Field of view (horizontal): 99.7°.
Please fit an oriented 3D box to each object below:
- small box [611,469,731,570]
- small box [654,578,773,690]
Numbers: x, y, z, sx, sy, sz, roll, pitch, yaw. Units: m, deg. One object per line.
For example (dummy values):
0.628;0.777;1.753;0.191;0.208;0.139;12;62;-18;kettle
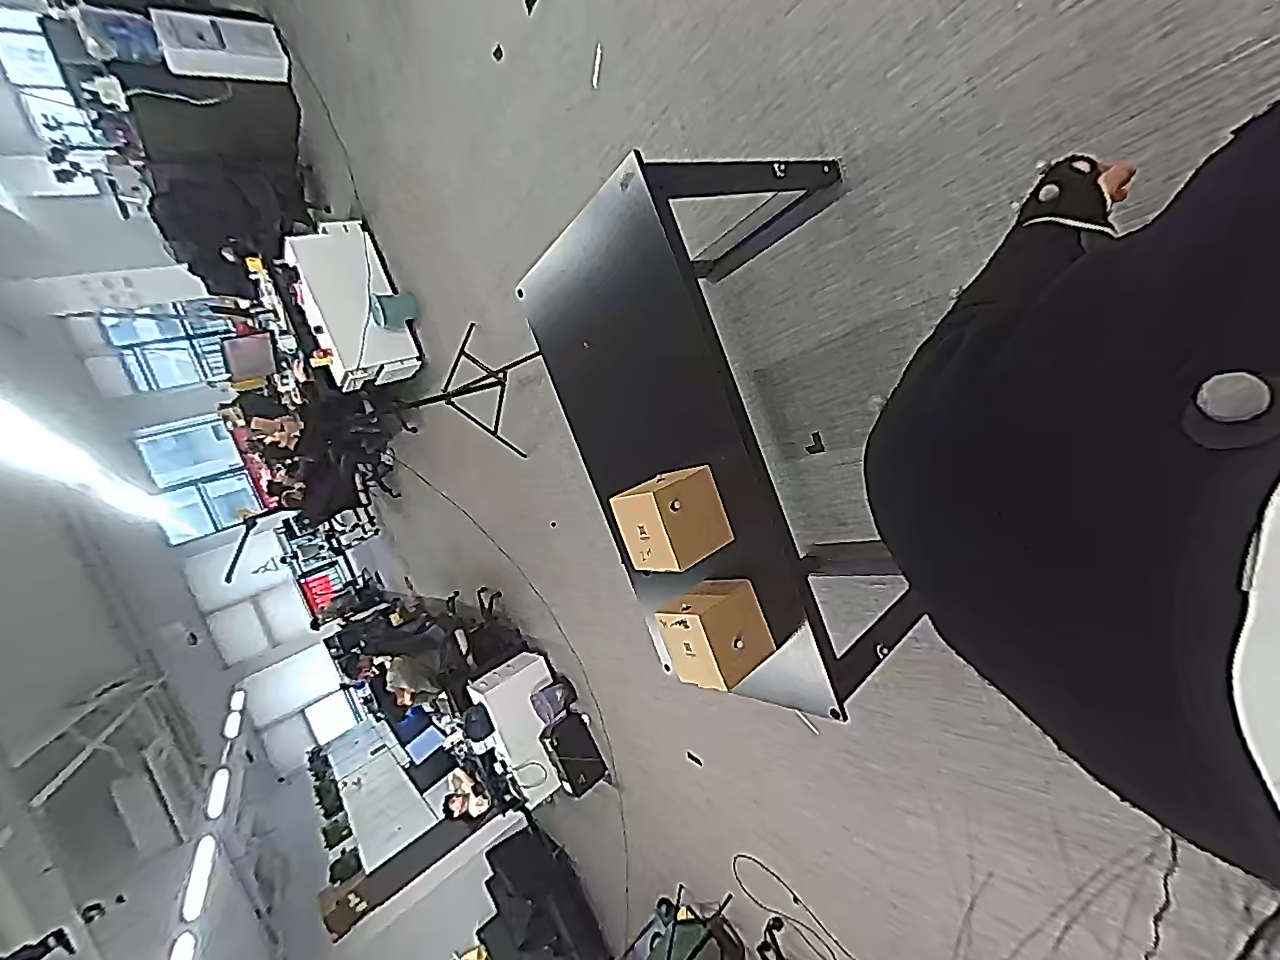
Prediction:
0.070;0.082;1.187;0.168;0.176;0.179;-11;101;55;small box
0.168;0.336;1.211;0.168;0.176;0.179;-17;96;55;small box
